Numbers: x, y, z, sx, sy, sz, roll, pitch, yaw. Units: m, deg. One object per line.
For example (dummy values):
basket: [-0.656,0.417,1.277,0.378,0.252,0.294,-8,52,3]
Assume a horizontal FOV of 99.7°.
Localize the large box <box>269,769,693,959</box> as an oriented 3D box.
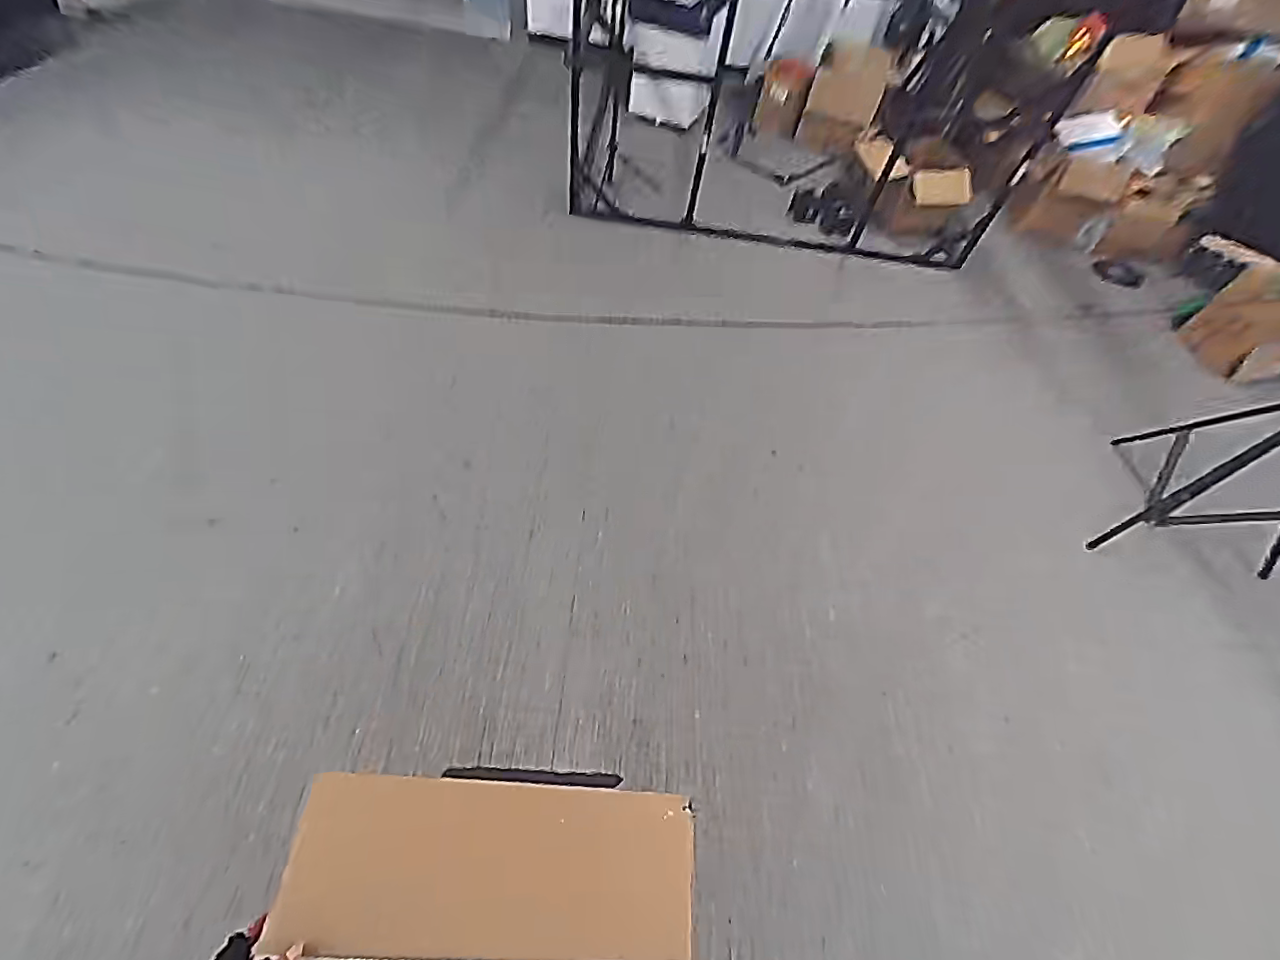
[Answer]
large box: [-0.168,0.542,0.631,0.408,0.320,0.320,7,55,-6]
